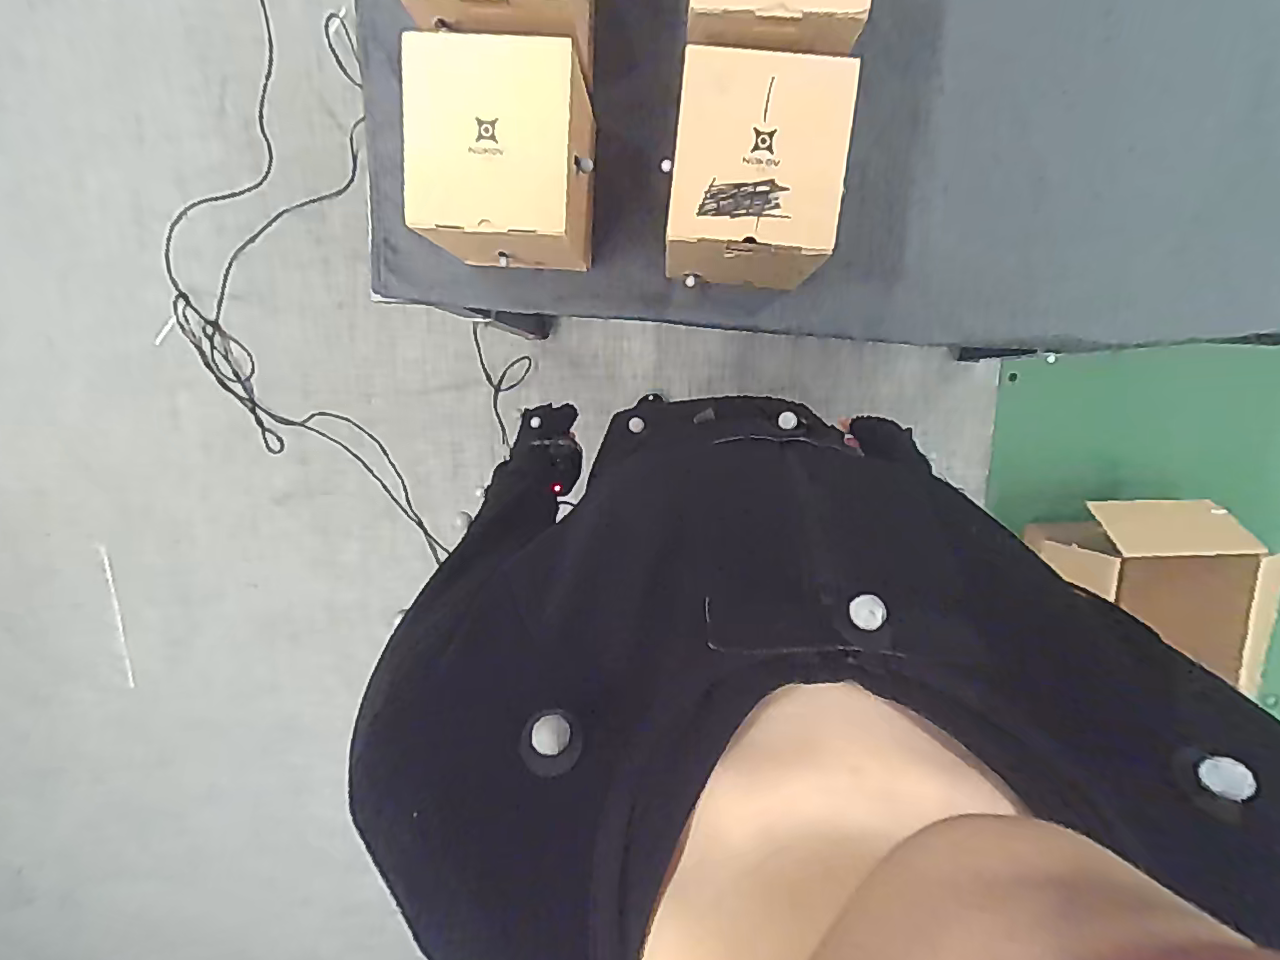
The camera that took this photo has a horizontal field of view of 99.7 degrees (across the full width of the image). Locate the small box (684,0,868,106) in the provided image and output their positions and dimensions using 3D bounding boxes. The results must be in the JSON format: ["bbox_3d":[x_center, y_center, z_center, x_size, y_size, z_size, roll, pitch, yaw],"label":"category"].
[{"bbox_3d":[0.136,-0.530,0.561,0.168,0.176,0.179,4,100,2],"label":"small box"}]
